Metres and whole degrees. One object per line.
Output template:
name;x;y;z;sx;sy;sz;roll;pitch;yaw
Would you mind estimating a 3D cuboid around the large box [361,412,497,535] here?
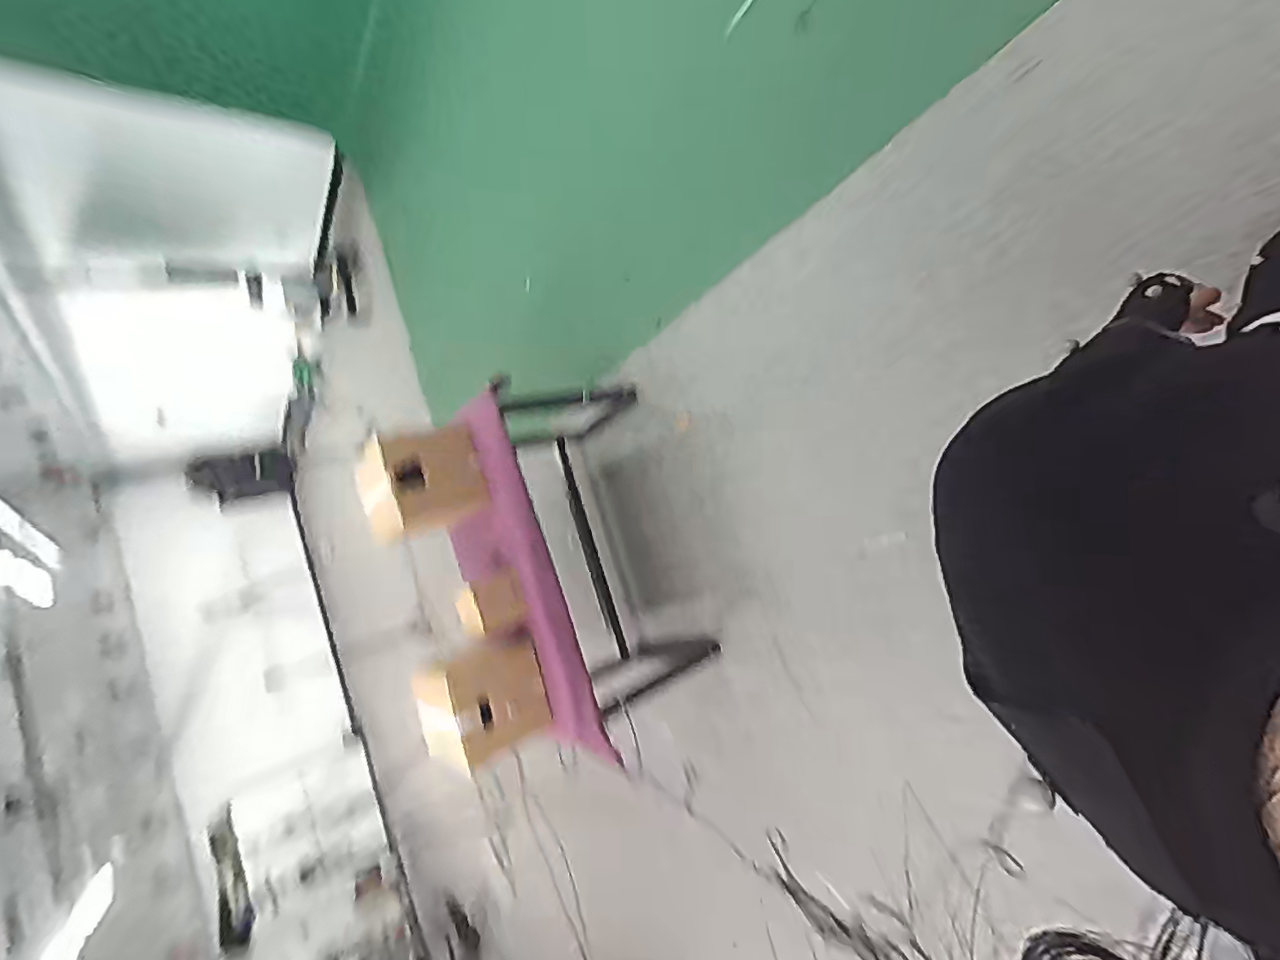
large box;-0.776;-0.023;1.969;0.408;0.320;0.320;-25;84;49
